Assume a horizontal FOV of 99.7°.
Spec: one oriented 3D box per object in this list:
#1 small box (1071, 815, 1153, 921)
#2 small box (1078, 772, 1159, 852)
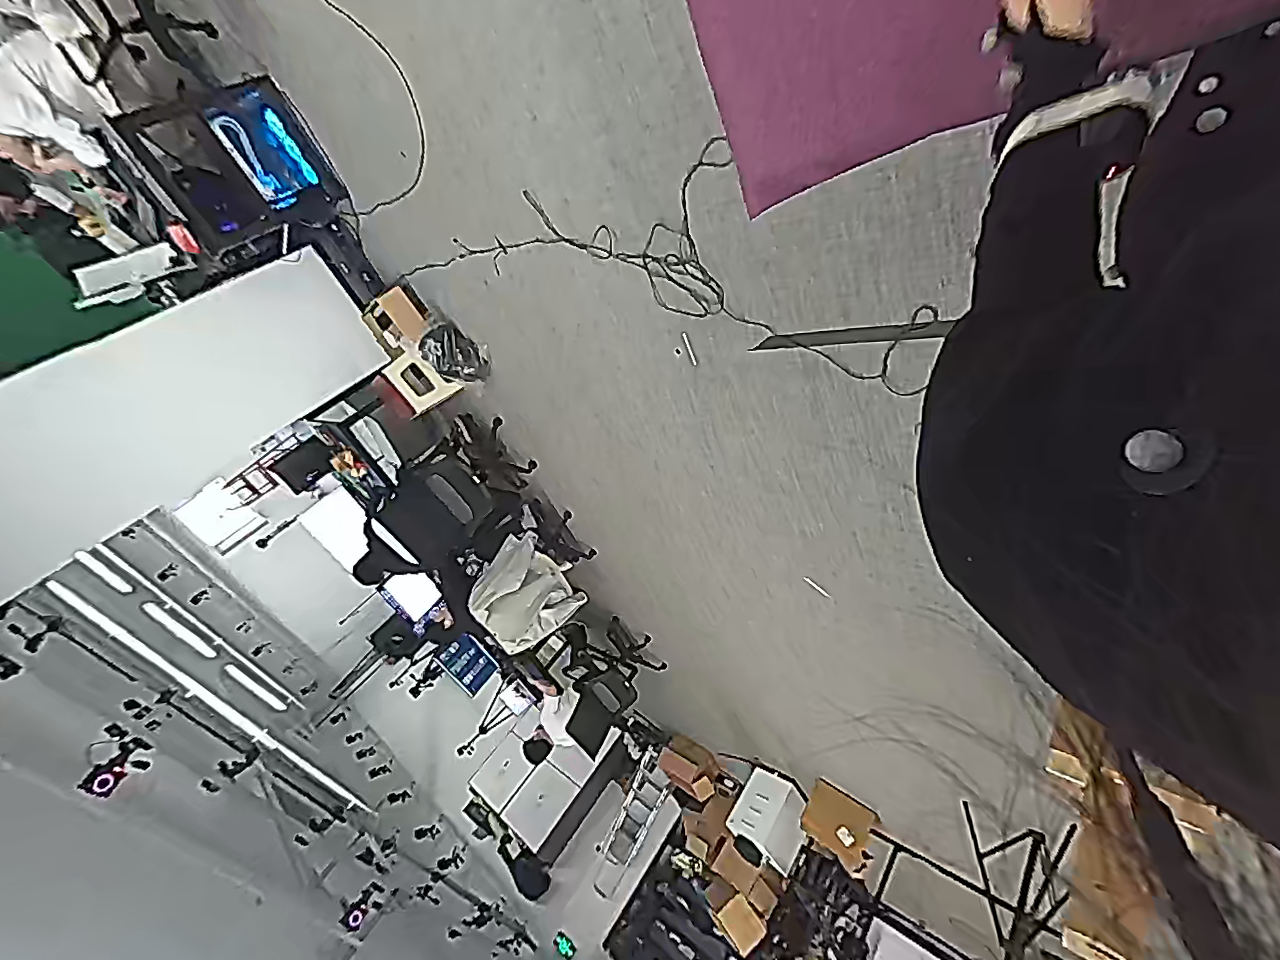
[{"bbox_3d":[1.436,1.175,1.646,0.168,0.176,0.179,8,134,45],"label":"small box"},{"bbox_3d":[1.534,1.079,1.734,0.179,0.176,0.168,8,134,46],"label":"small box"}]
